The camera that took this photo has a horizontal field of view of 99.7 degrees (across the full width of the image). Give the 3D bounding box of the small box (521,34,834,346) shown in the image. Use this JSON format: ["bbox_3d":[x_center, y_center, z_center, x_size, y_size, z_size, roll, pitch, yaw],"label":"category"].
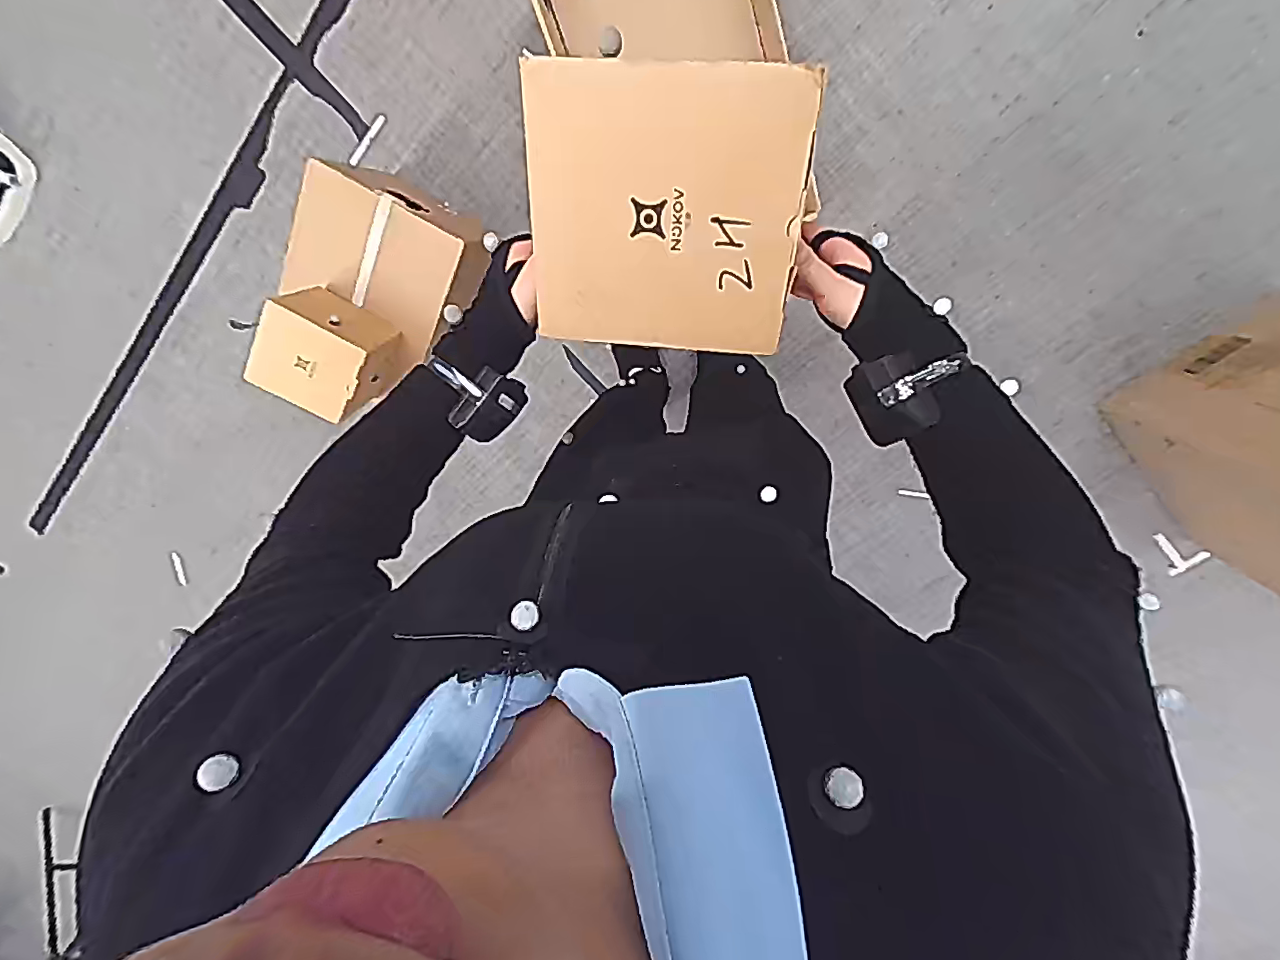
[{"bbox_3d":[0.025,-0.213,0.404,0.179,0.176,0.168,6,123,5],"label":"small box"}]
